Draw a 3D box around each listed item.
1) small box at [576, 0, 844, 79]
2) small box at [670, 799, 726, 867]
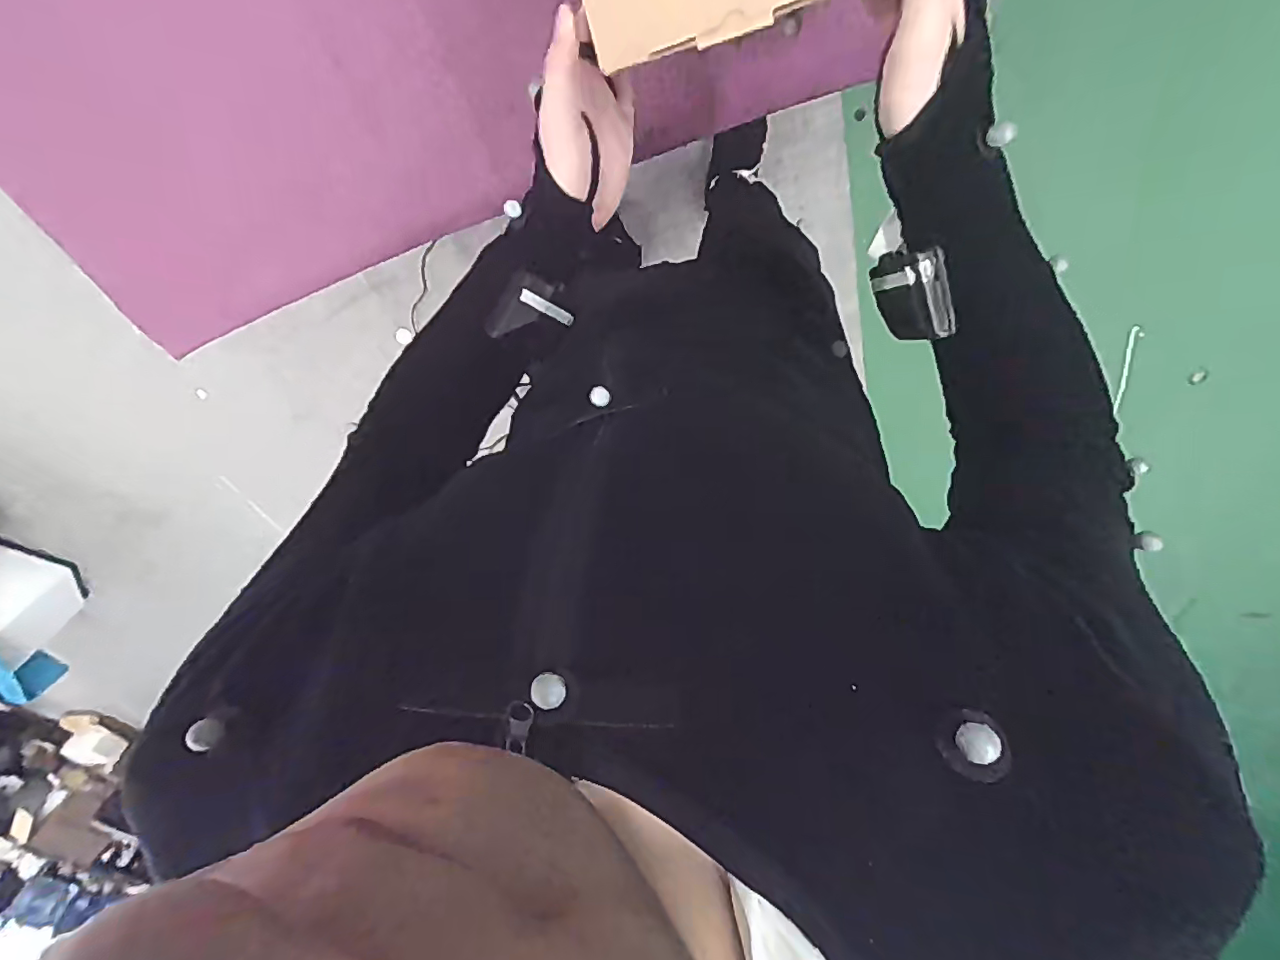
[{"bbox_3d":[0.041,-0.371,0.316,0.168,0.176,0.179,-6,129,17],"label":"small box"},{"bbox_3d":[0.218,1.300,1.996,0.168,0.176,0.179,-10,127,19],"label":"small box"}]
